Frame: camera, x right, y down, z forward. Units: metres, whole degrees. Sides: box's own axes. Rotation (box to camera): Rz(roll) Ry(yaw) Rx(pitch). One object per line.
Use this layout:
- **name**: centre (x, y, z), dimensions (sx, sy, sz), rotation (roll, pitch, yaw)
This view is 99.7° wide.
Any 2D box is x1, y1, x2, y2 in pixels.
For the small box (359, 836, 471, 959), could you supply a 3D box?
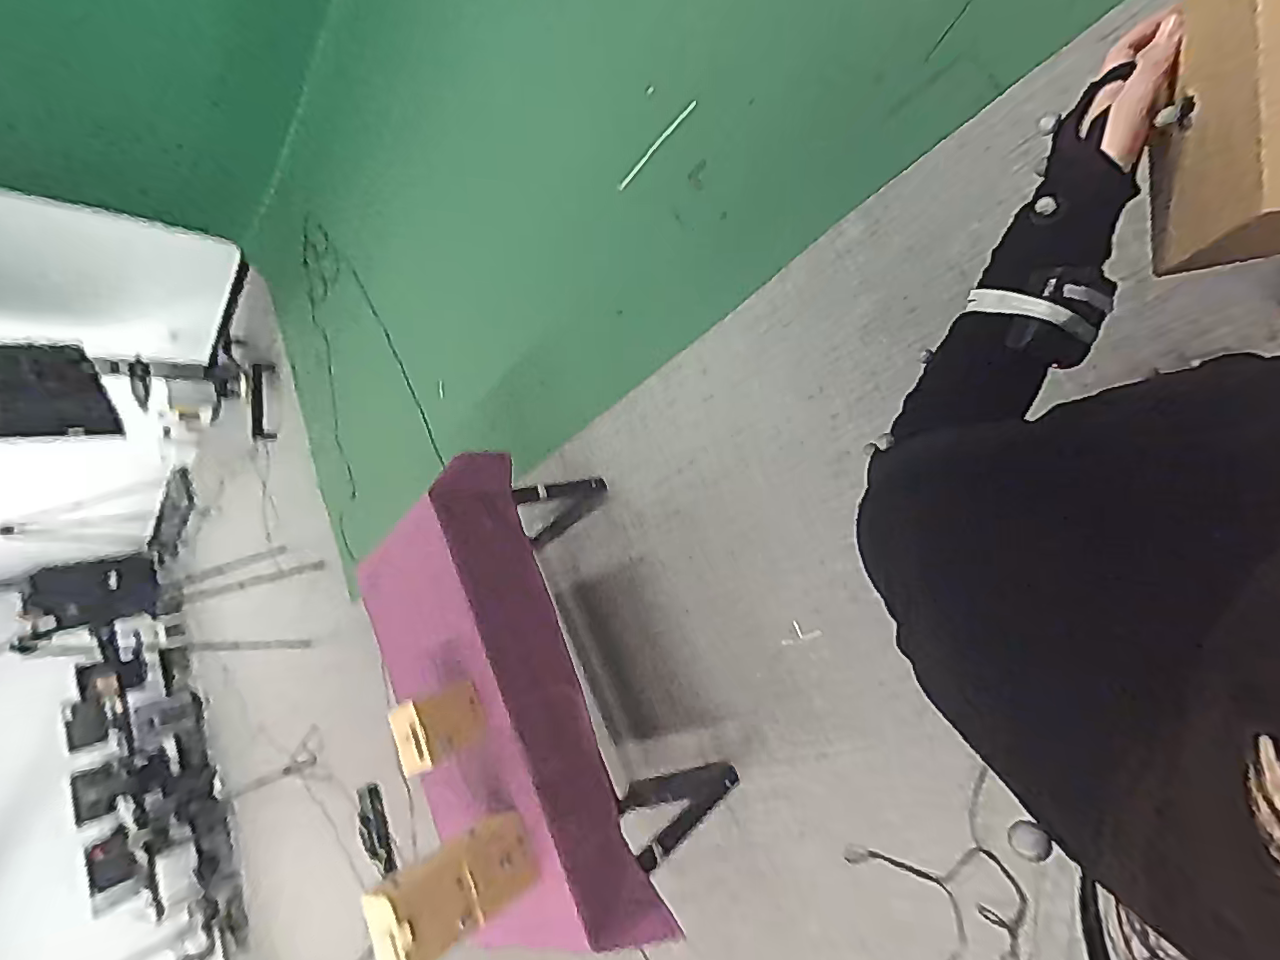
- **small box**: centre (-0.509, 0.949, 1.241), dimensions (0.179, 0.176, 0.168), rotation (-32, 75, 38)

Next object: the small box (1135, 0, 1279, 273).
- **small box**: centre (0.415, -0.230, 0.306), dimensions (0.179, 0.176, 0.168), rotation (-3, 97, 29)

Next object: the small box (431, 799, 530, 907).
- **small box**: centre (-0.399, 0.933, 1.363), dimensions (0.179, 0.176, 0.168), rotation (-32, 74, 37)
